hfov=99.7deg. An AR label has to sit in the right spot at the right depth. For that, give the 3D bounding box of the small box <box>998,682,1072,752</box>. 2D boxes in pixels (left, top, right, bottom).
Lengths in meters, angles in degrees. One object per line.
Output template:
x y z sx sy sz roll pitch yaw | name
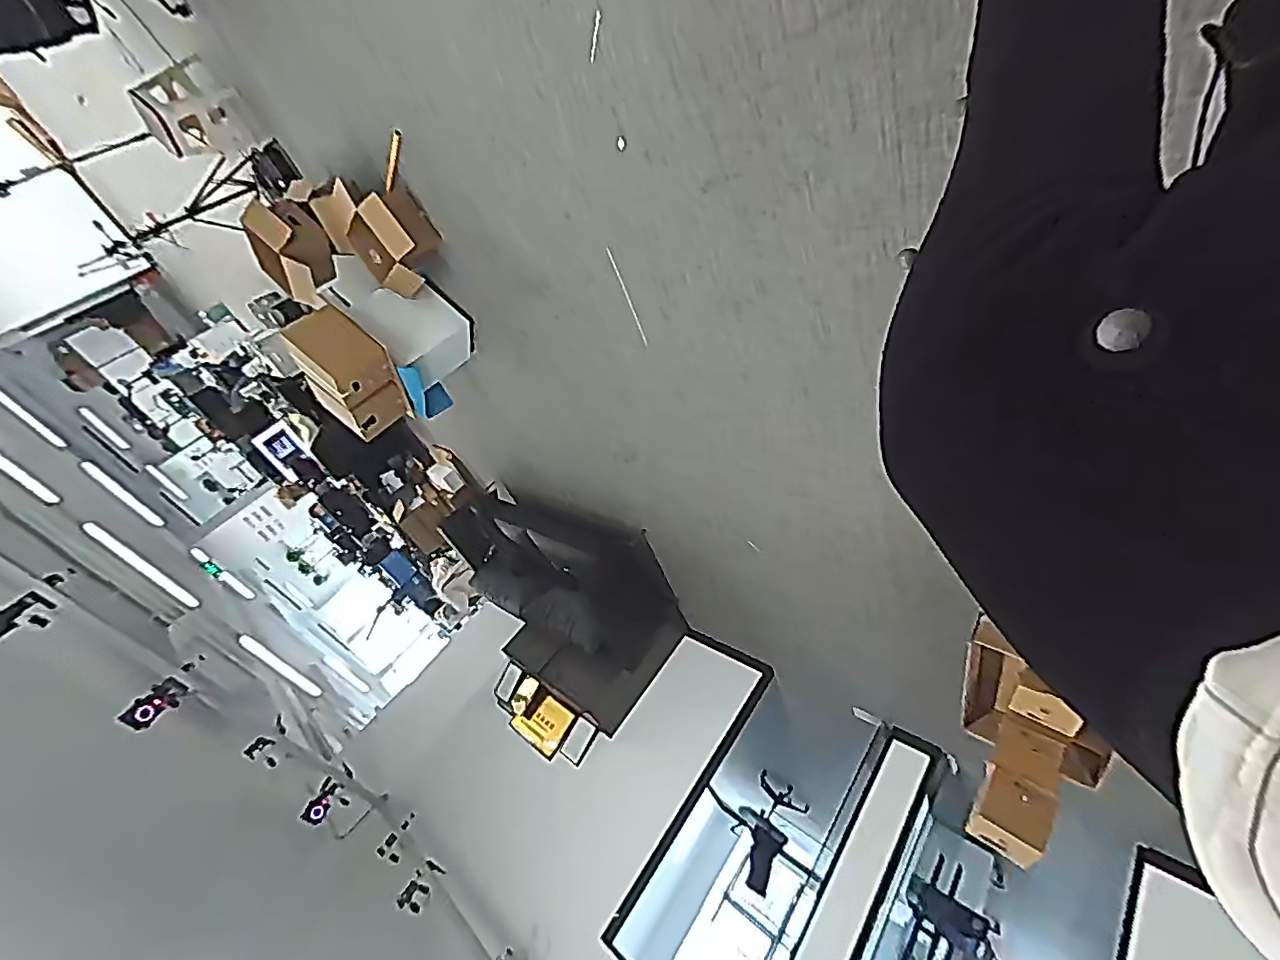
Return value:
1.278 0.798 1.759 0.168 0.176 0.179 16 140 41 | small box

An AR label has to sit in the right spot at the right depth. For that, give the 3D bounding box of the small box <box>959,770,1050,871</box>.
1.080 1.004 1.601 0.168 0.176 0.179 24 144 34 | small box

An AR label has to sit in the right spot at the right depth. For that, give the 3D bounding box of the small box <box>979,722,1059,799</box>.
1.177 0.897 1.680 0.168 0.176 0.179 17 140 42 | small box
